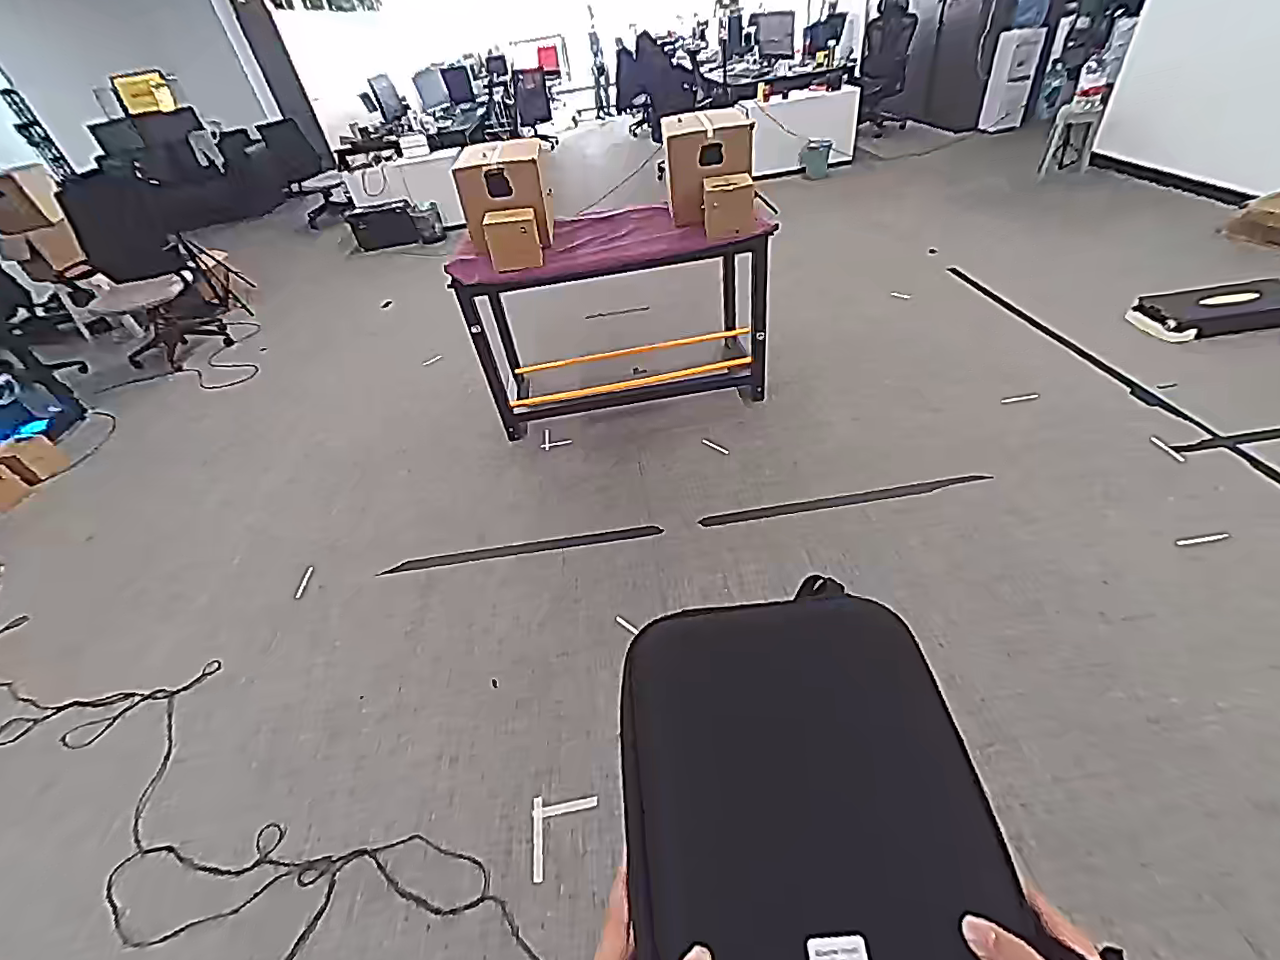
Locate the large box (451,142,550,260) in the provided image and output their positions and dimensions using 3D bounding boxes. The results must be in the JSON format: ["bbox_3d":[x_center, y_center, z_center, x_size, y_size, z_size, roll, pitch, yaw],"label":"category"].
[{"bbox_3d":[-0.543,-1.136,2.190,0.320,0.320,0.408,-9,43,-1],"label":"large box"}]
